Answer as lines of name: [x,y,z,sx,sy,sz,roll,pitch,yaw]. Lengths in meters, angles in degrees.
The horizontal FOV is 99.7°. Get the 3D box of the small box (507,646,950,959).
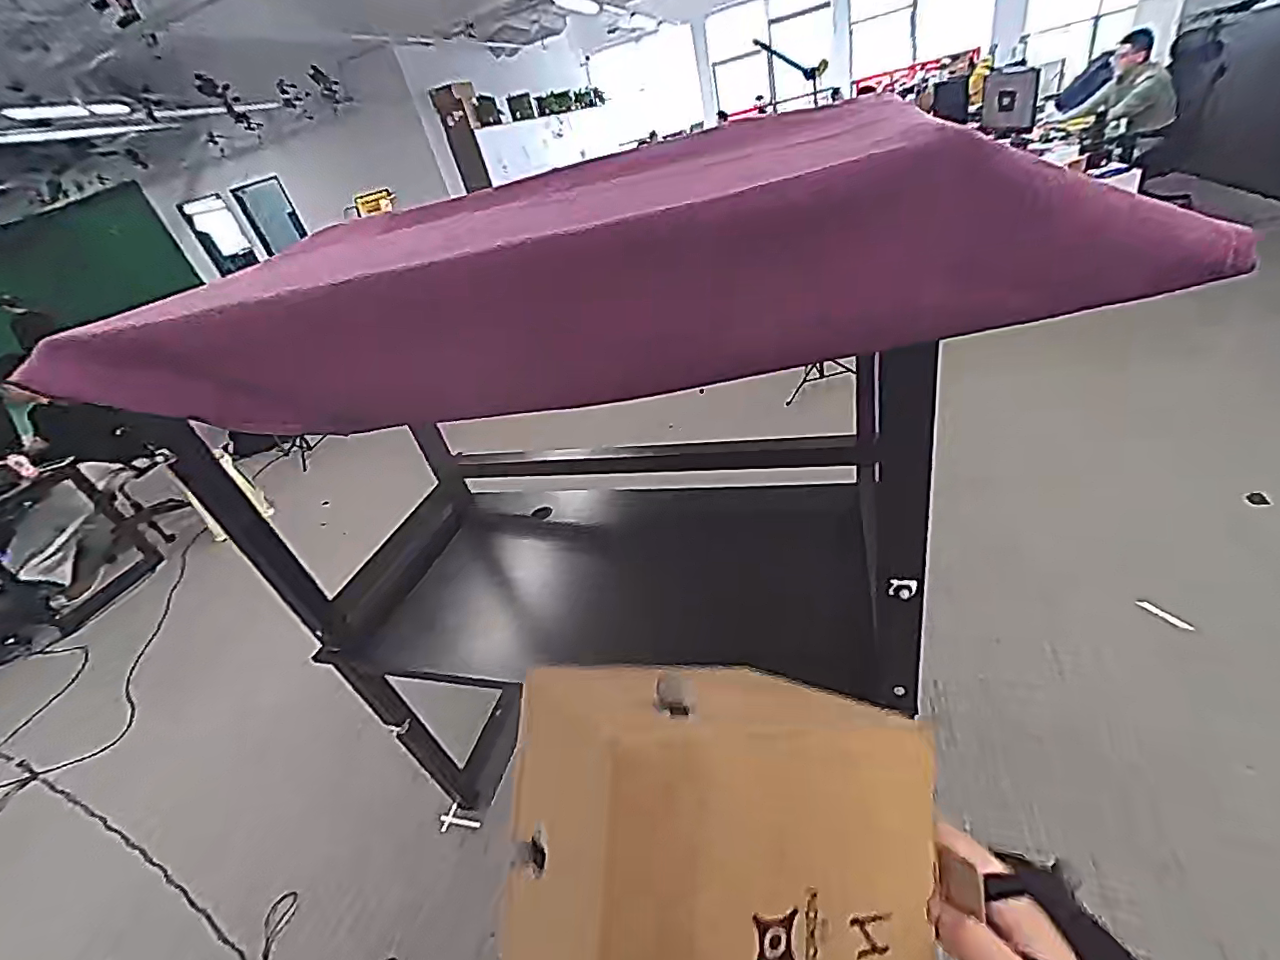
small box: [0.033,0.189,0.294,0.179,0.168,0.176,9,-11,-23]
